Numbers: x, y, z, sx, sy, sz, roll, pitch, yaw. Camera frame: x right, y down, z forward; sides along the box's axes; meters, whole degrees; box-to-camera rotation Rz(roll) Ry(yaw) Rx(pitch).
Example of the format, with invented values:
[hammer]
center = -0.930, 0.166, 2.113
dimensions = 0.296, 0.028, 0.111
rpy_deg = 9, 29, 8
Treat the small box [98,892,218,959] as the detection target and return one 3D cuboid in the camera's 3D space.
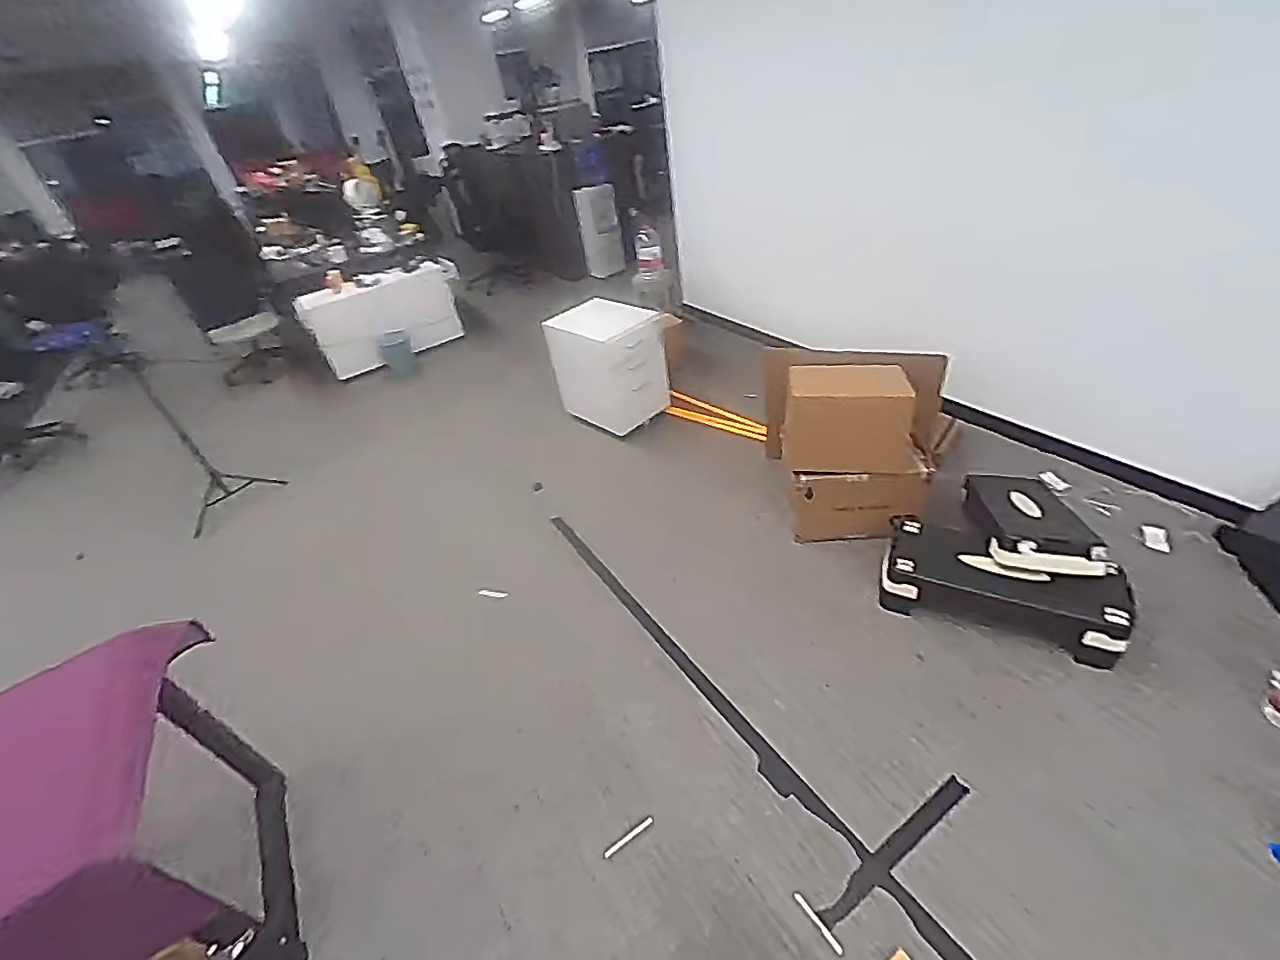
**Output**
[small box]
center = -1.188, 1.183, 1.340
dimensions = 0.179, 0.176, 0.168
rpy_deg = -27, 39, -21
